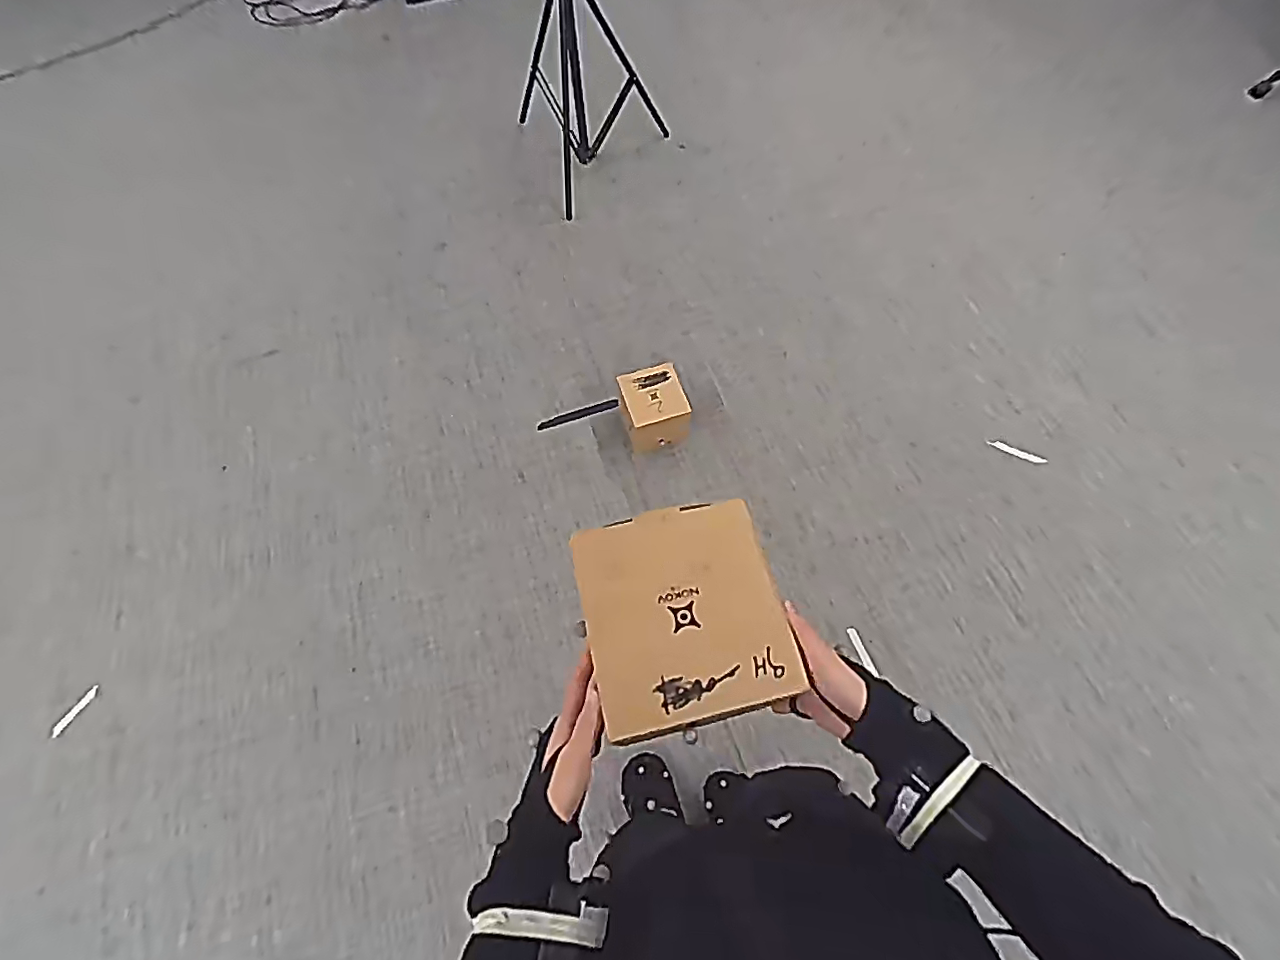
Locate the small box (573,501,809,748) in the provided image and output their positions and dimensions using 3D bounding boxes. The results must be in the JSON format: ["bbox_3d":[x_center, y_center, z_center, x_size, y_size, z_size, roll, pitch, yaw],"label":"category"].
[{"bbox_3d":[0.034,0.145,0.521,0.168,0.176,0.179,-12,63,-7],"label":"small box"}]
